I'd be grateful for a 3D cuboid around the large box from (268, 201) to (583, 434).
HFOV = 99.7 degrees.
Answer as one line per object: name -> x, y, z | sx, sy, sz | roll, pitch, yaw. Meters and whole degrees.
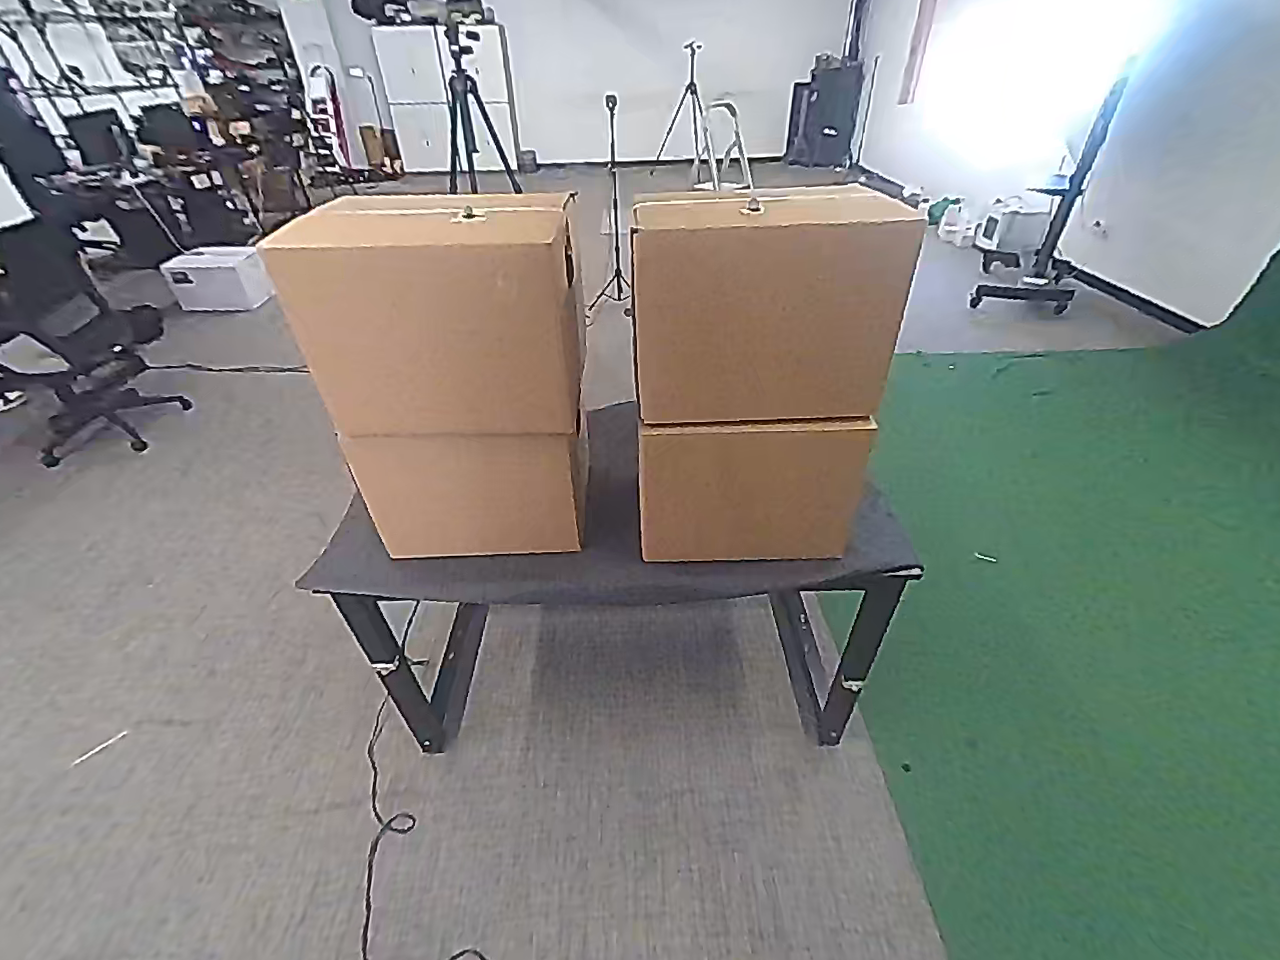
large box -> -0.315, -0.288, 0.944 | 0.408, 0.320, 0.320 | 0, 39, -1
